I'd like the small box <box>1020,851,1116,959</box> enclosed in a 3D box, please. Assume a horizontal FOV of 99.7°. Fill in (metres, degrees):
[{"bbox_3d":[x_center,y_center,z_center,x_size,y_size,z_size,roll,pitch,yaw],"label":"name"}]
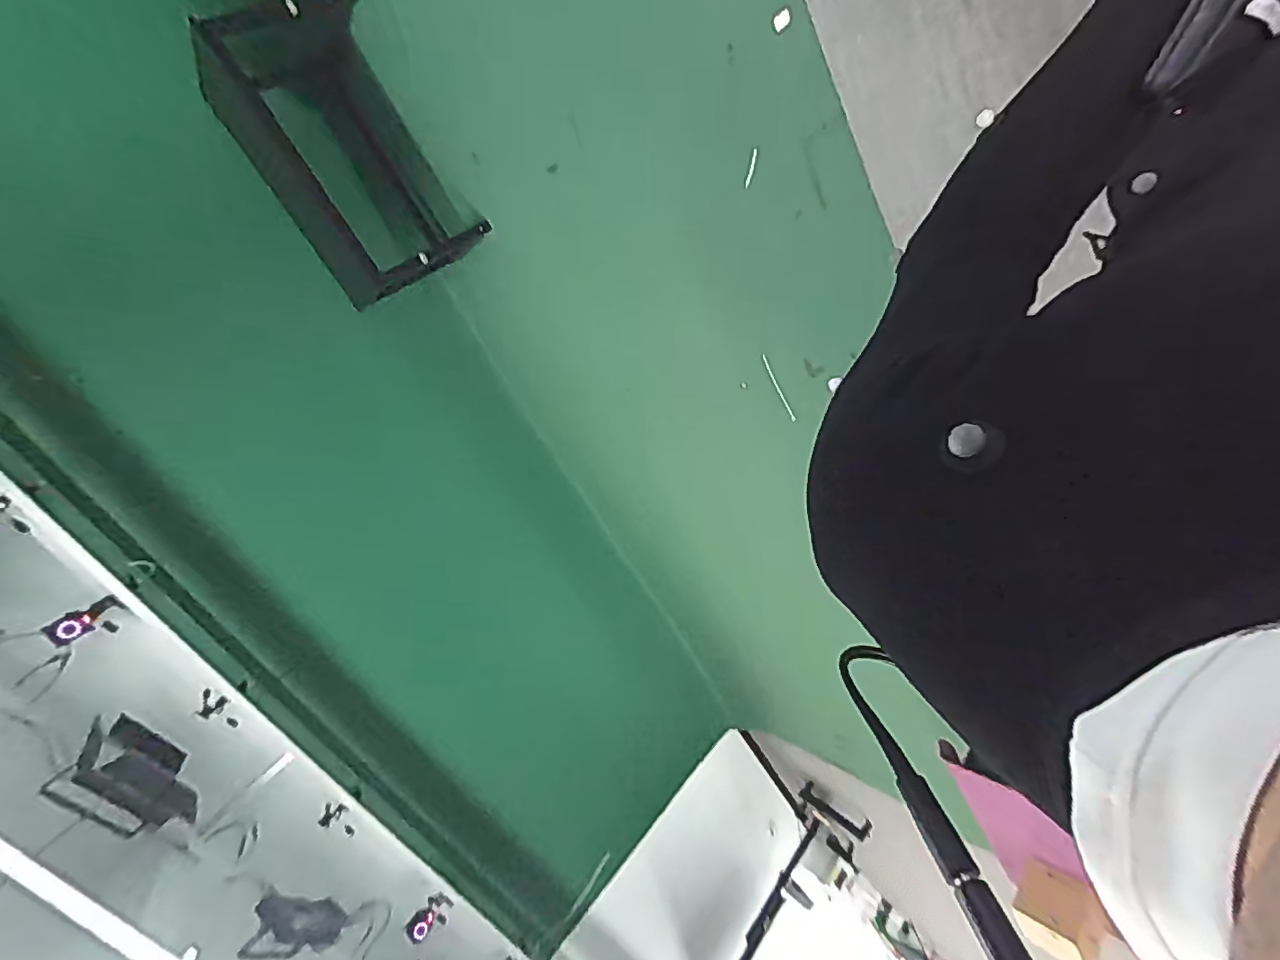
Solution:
[{"bbox_3d":[1.269,1.259,1.598,0.168,0.176,0.179,-1,127,57],"label":"small box"}]
